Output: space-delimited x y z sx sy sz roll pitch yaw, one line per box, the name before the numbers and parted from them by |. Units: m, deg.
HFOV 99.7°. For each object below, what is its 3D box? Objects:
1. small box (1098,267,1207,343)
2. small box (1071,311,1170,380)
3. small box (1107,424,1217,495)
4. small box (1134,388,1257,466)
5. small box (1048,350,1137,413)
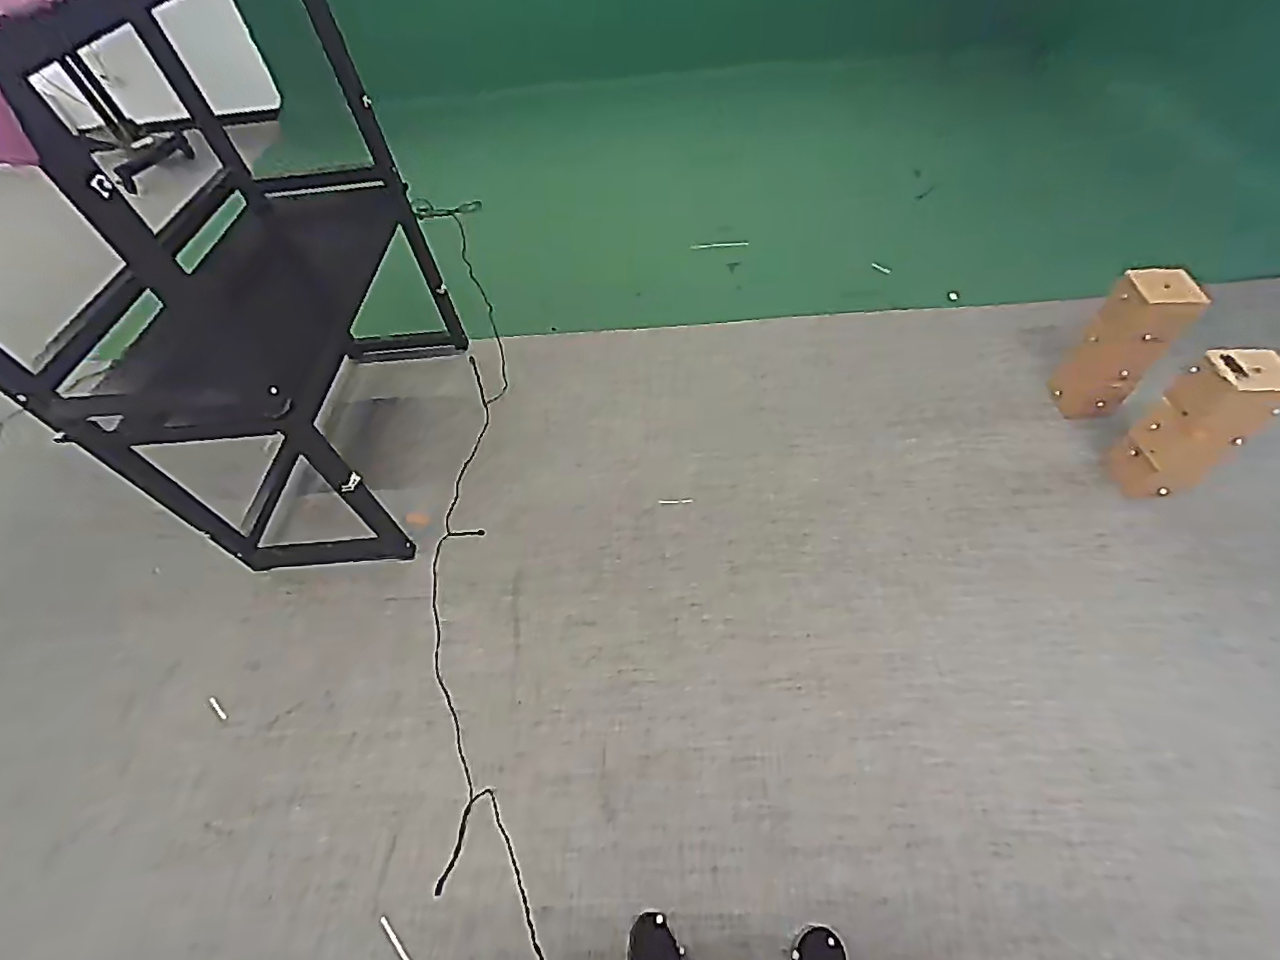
small box | 1.642 -0.566 1.749 0.168 0.176 0.179 2 54 8
small box | 1.655 -0.467 1.878 0.168 0.176 0.179 0 54 7
small box | 1.700 -0.067 1.778 0.168 0.176 0.179 -2 54 5
small box | 1.671 -0.158 1.647 0.179 0.176 0.168 -5 53 2
small box | 1.668 -0.363 2.005 0.168 0.176 0.179 0 54 6
